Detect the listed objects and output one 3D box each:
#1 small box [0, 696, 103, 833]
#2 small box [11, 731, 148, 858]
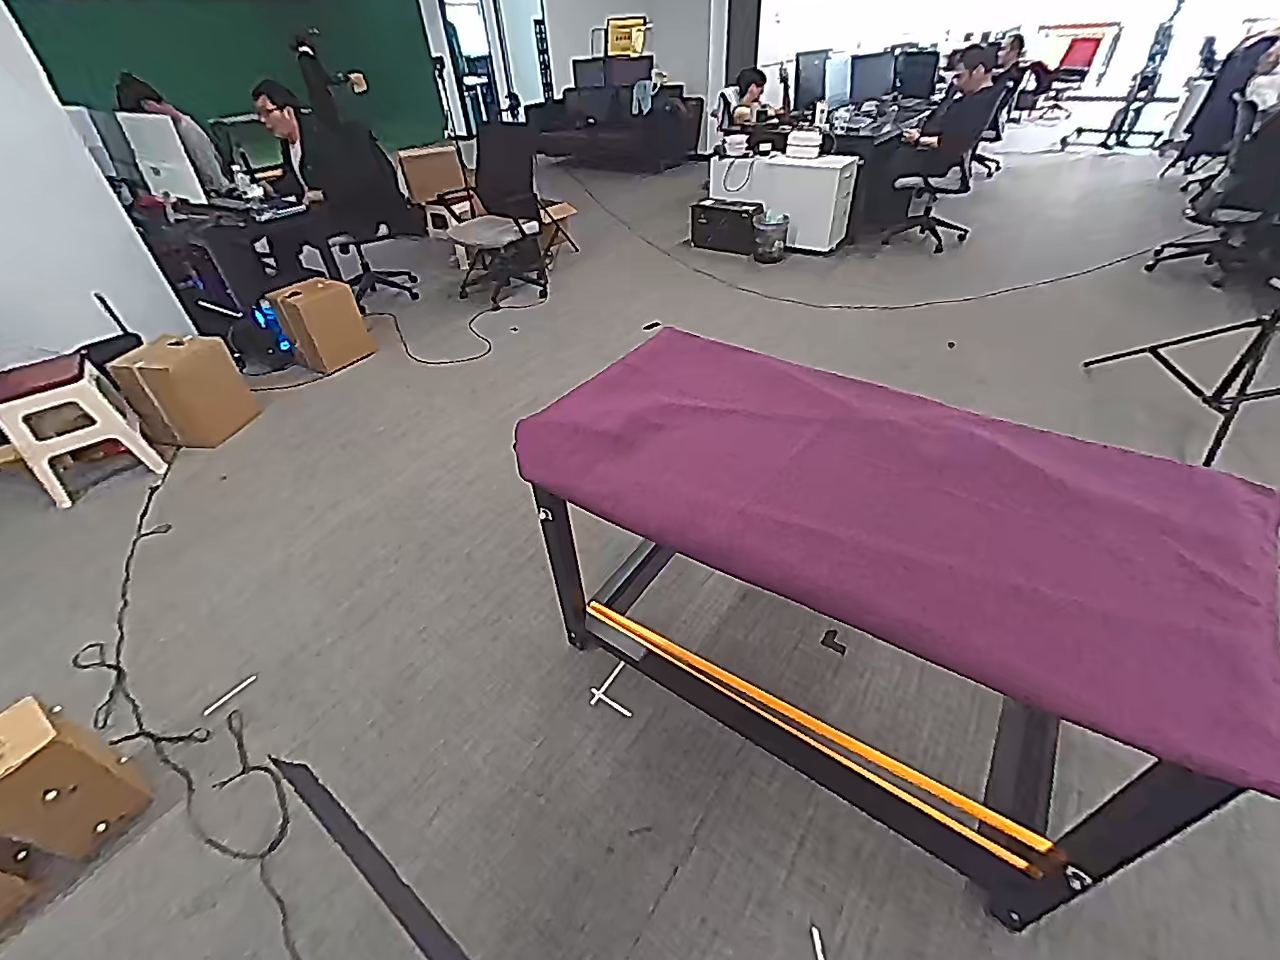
[{"bbox_3d":[-1.323,0.609,1.155,0.179,0.176,0.168,22,47,26],"label":"small box"},{"bbox_3d":[-1.317,0.736,1.261,0.179,0.176,0.168,23,47,27],"label":"small box"}]
